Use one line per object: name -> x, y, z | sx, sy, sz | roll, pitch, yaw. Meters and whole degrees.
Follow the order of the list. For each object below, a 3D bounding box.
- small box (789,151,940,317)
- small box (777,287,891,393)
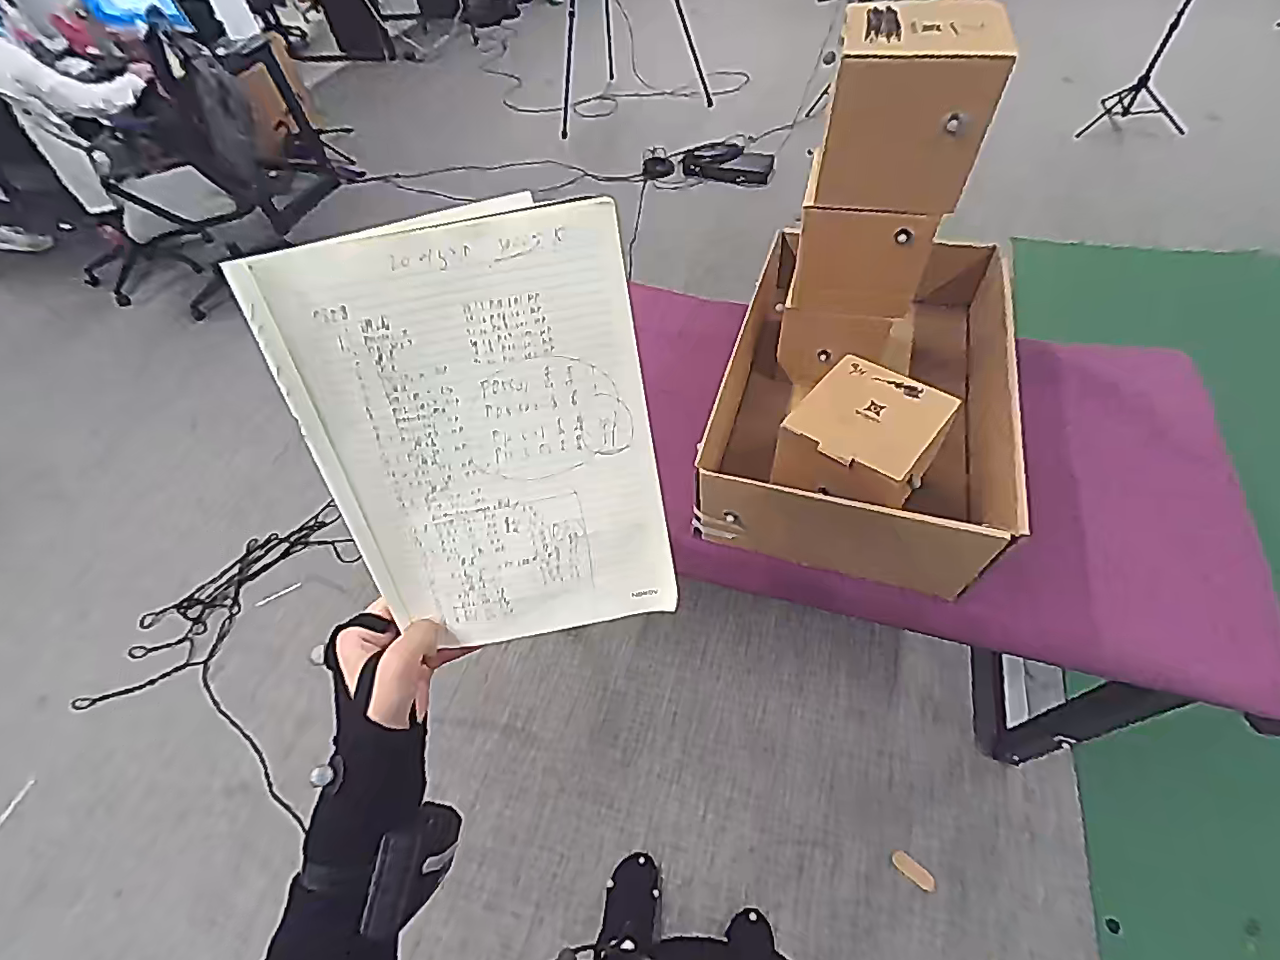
small box -> 0.328, -0.365, 0.811 | 0.179, 0.176, 0.168 | 10, 57, 14
small box -> 0.340, -0.276, 0.945 | 0.168, 0.176, 0.179 | 13, 58, 15
